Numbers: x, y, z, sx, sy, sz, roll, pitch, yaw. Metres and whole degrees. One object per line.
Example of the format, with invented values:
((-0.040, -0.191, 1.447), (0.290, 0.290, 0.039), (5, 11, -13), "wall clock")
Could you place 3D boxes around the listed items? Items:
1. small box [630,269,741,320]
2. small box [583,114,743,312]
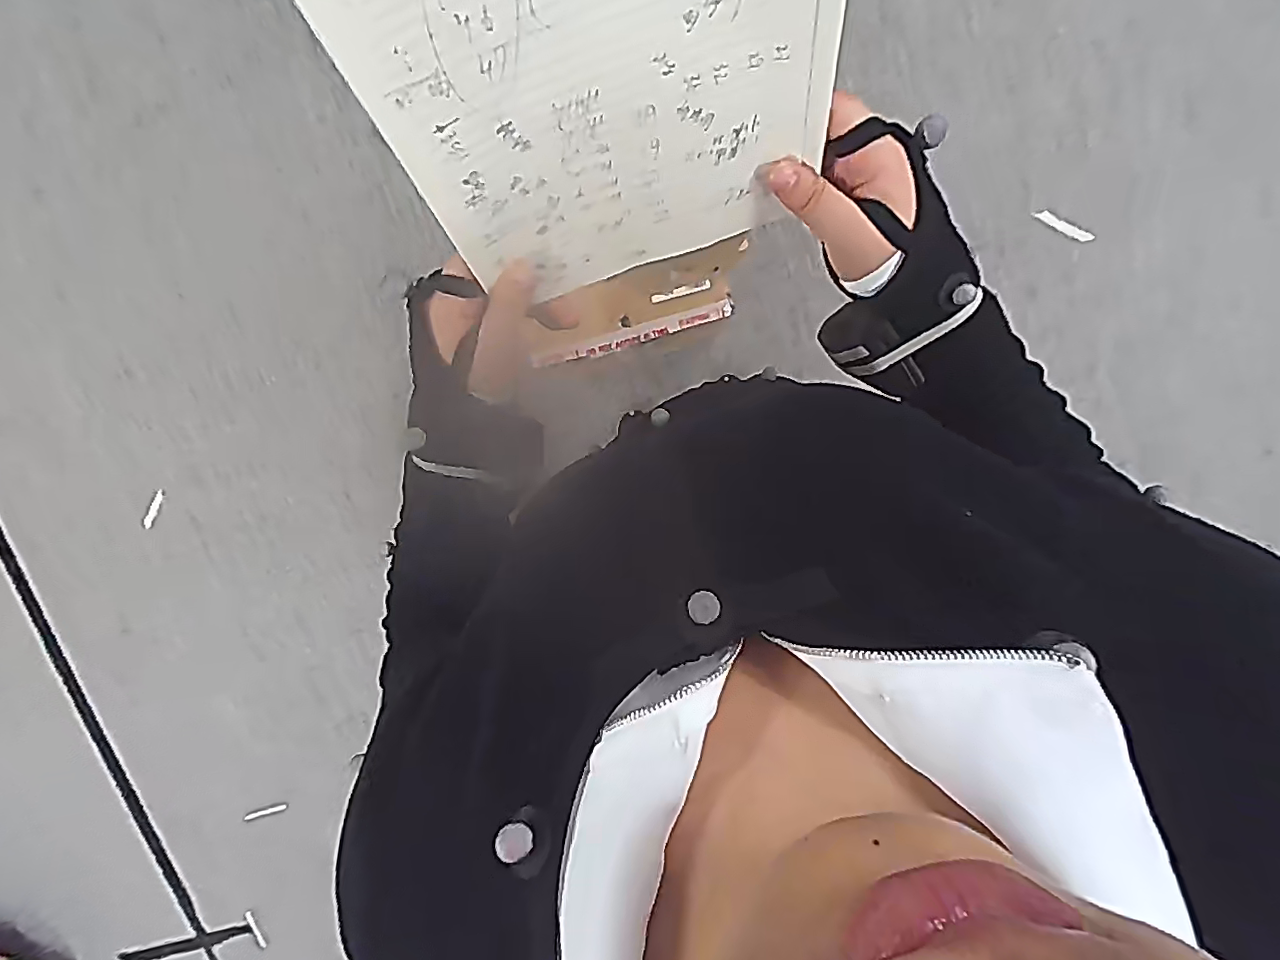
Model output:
((0.048, -0.371, 0.881), (0.179, 0.176, 0.168), (-16, 98, 4), "small box")
((0.028, -0.338, 0.720), (0.168, 0.176, 0.179), (-12, 100, 2), "small box")
